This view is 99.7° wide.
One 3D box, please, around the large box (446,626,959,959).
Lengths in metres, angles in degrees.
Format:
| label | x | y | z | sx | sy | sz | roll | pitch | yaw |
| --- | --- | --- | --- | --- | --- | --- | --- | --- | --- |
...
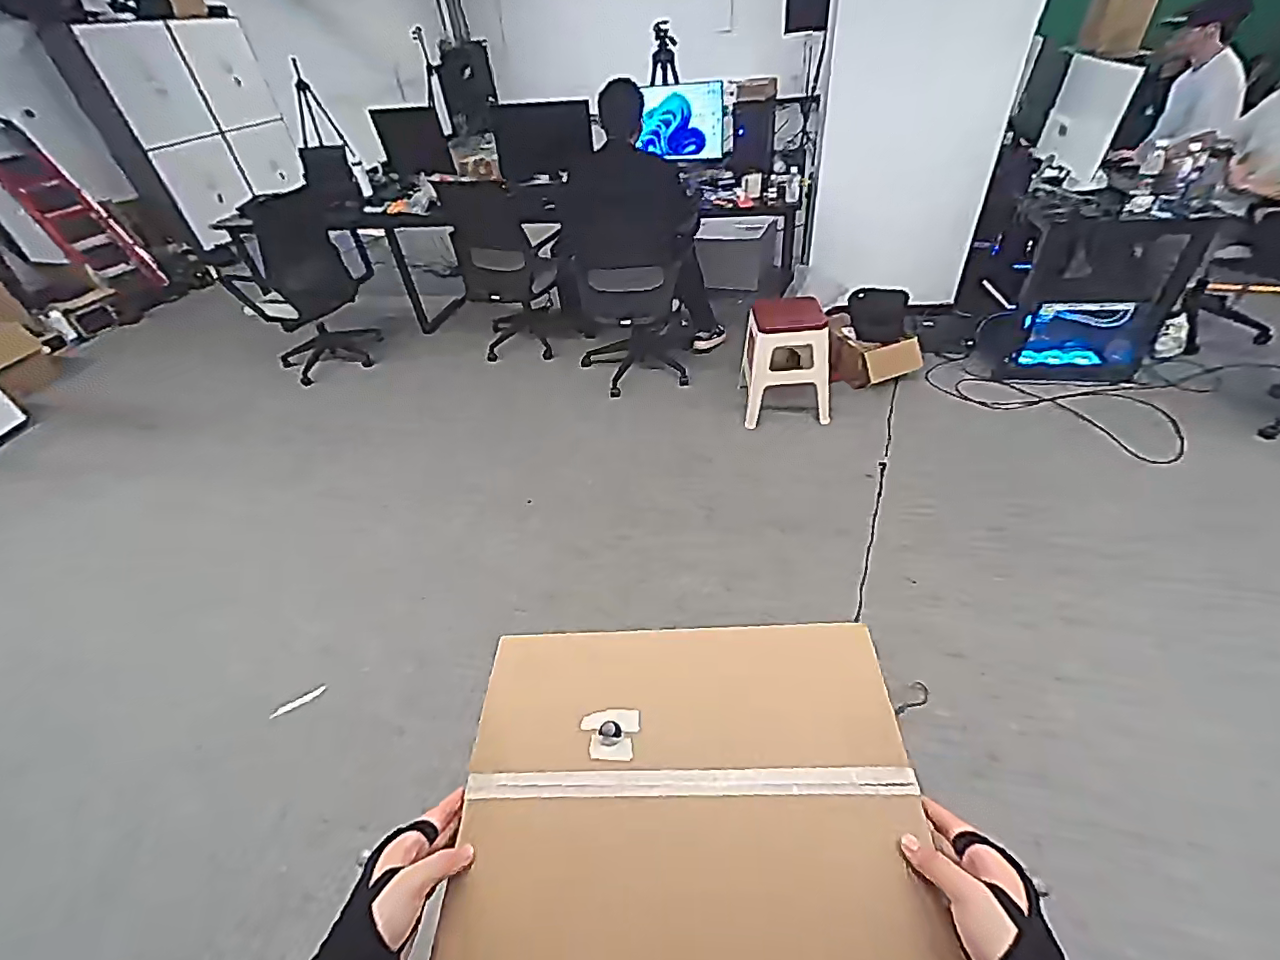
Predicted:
| label | x | y | z | sx | sy | sz | roll | pitch | yaw |
| --- | --- | --- | --- | --- | --- | --- | --- | --- | --- |
| large box | 0.062 | 0.389 | 0.606 | 0.408 | 0.320 | 0.320 | -5 | 44 | 6 |
